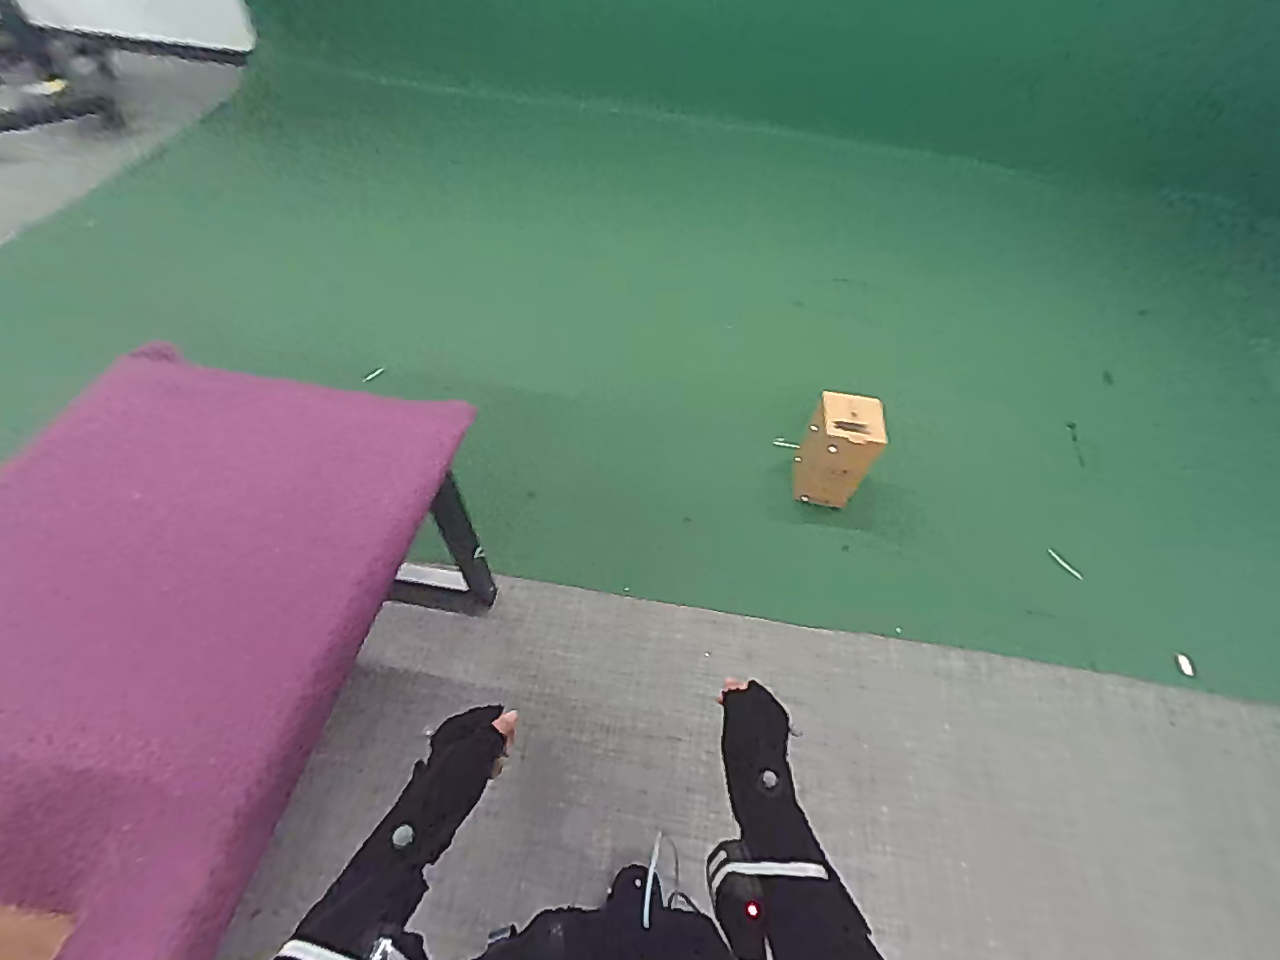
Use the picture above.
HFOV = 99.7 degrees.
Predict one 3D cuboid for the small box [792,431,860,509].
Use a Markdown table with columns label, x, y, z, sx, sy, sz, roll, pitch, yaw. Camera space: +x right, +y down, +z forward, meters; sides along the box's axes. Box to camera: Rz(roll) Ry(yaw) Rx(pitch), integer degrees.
| label | x | y | z | sx | sy | sz | roll | pitch | yaw |
| --- | --- | --- | --- | --- | --- | --- | --- | --- | --- |
| small box | 0.595 | -0.028 | 1.747 | 0.168 | 0.176 | 0.179 | 10 | 54 | 2 |
